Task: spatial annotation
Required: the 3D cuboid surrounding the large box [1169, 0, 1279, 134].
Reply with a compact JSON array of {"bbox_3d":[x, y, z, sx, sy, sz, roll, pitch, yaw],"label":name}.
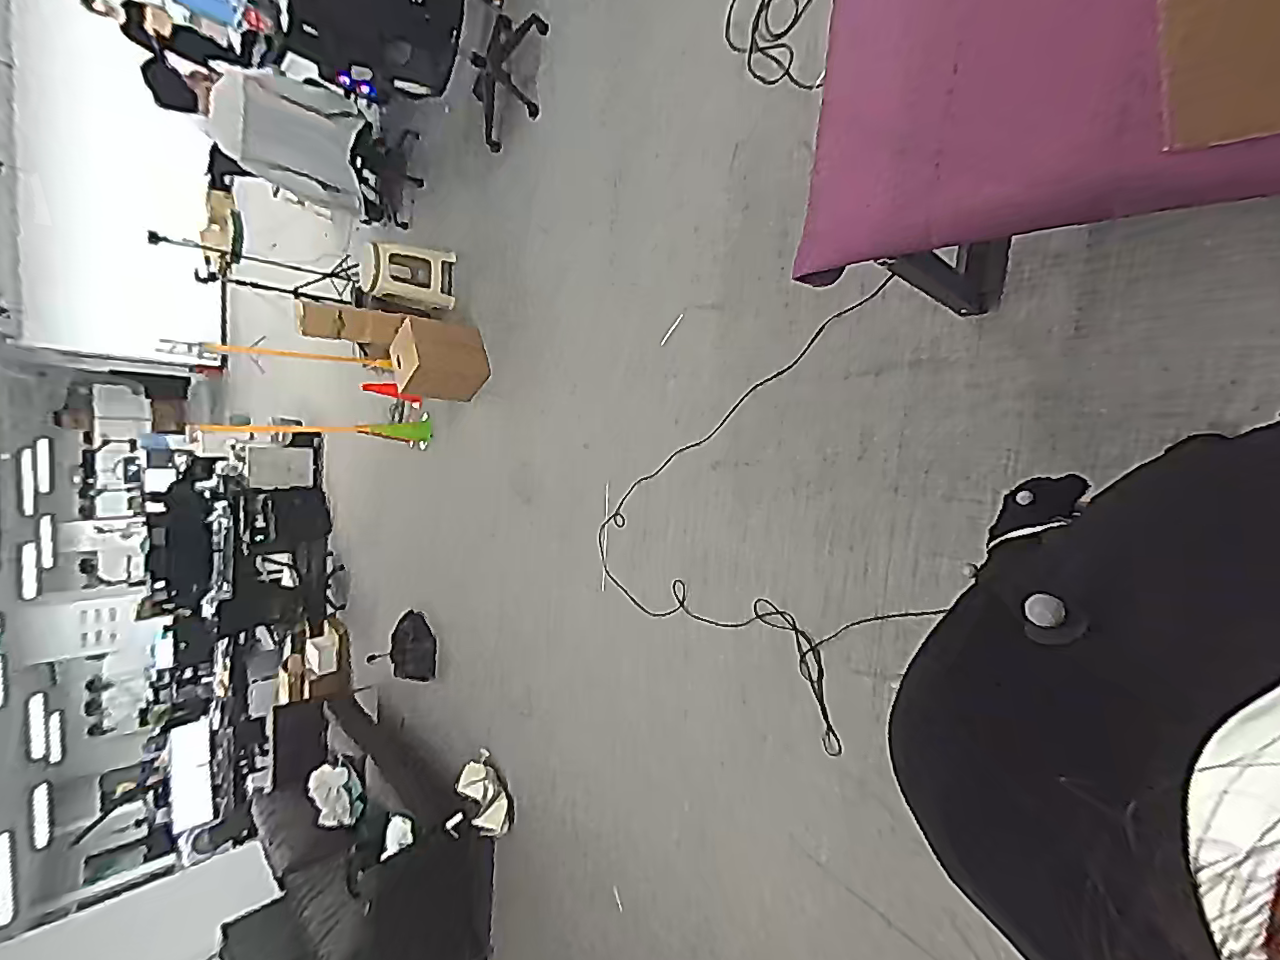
[{"bbox_3d":[0.581,-0.524,0.333,0.320,0.320,0.408,15,102,44],"label":"large box"}]
